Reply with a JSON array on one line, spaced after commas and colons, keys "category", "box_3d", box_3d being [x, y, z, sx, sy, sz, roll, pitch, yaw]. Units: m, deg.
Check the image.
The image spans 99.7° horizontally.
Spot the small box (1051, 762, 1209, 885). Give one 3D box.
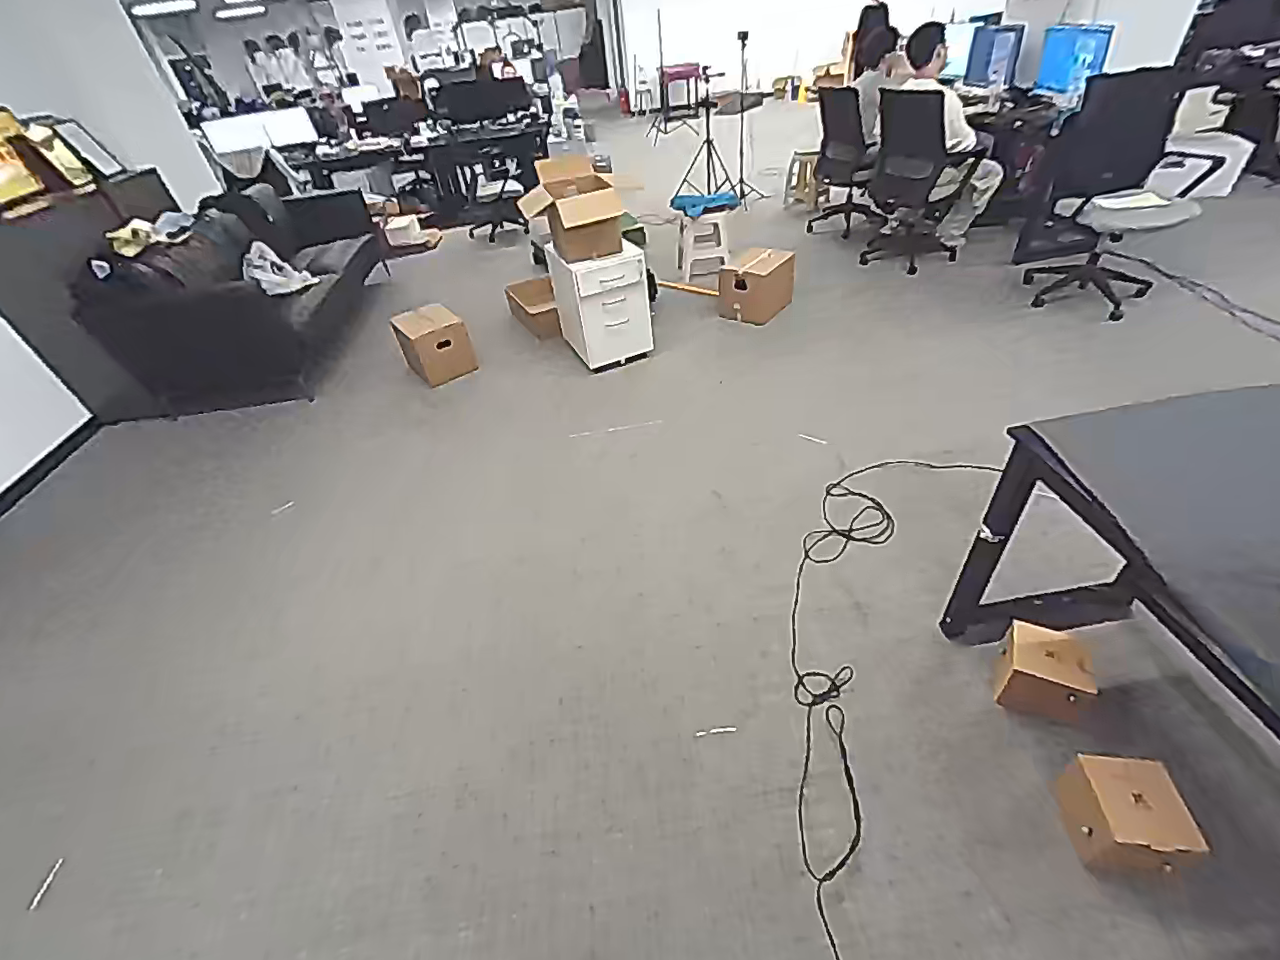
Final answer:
[{"category": "small box", "box_3d": [1.041, 0.744, 1.169, 0.168, 0.176, 0.179, 1, 38, 9]}]

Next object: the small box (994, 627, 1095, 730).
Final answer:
[{"category": "small box", "box_3d": [1.059, 0.528, 1.432, 0.179, 0.176, 0.168, 14, 44, 24]}]
